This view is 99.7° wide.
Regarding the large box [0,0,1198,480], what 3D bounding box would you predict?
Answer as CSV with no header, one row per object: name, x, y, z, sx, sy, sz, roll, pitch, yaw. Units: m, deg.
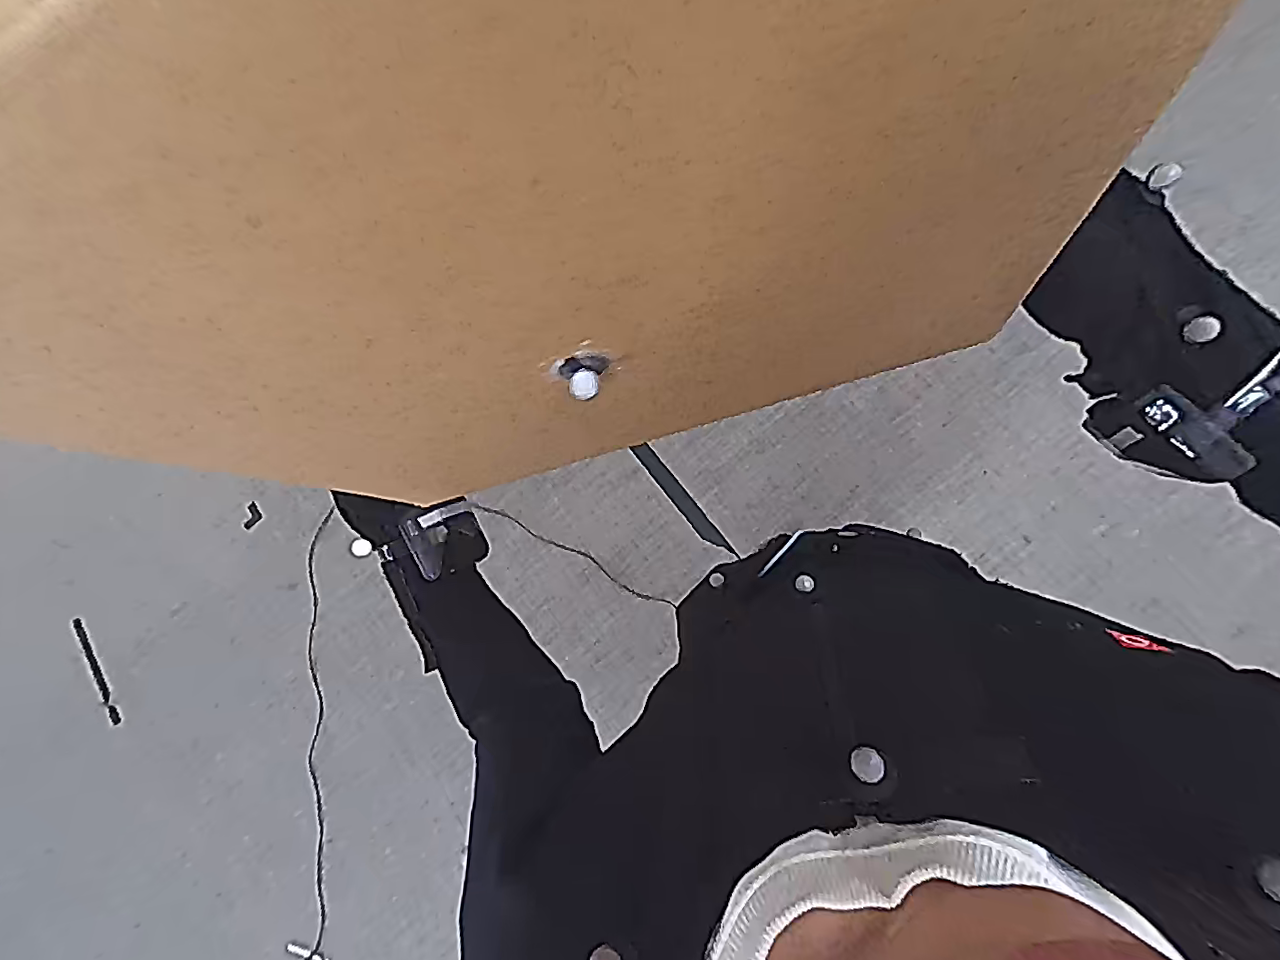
large box,-0.041,-0.215,0.278,0.408,0.320,0.320,-17,77,13
